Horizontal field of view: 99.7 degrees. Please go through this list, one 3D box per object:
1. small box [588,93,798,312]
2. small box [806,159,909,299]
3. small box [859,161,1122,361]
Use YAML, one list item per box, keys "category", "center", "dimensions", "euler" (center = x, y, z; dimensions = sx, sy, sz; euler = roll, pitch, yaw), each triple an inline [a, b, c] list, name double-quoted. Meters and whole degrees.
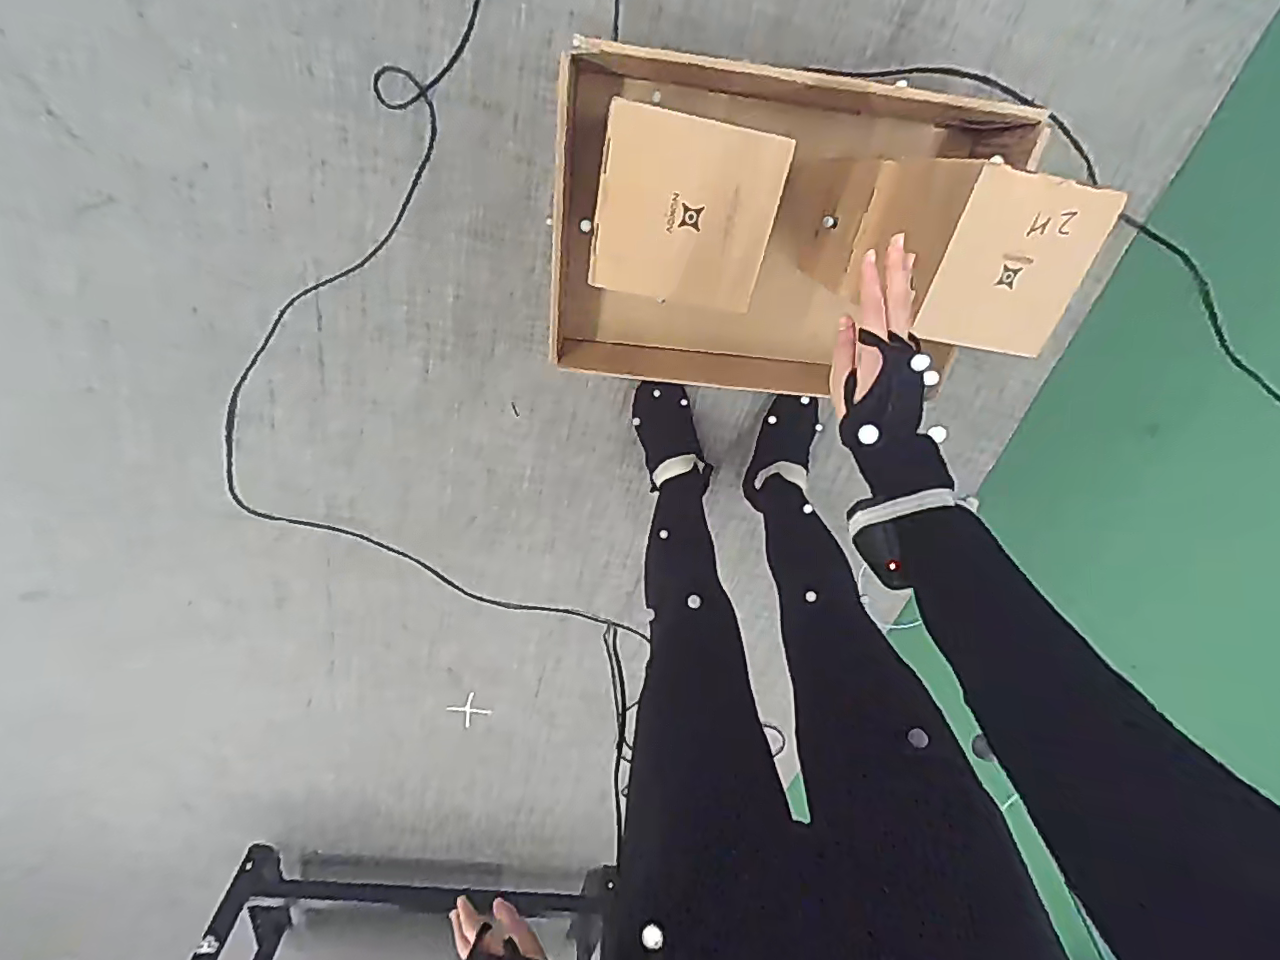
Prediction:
- category: "small box"
  center: [0.043, -0.304, 0.599]
  dimensions: [0.179, 0.176, 0.168]
  euler: [8, 121, -9]
- category: "small box"
  center: [0.365, -0.351, 0.782]
  dimensions: [0.179, 0.176, 0.168]
  euler: [9, 120, -8]
- category: "small box"
  center: [0.388, -0.263, 0.643]
  dimensions: [0.168, 0.176, 0.179]
  euler: [8, 119, -9]
